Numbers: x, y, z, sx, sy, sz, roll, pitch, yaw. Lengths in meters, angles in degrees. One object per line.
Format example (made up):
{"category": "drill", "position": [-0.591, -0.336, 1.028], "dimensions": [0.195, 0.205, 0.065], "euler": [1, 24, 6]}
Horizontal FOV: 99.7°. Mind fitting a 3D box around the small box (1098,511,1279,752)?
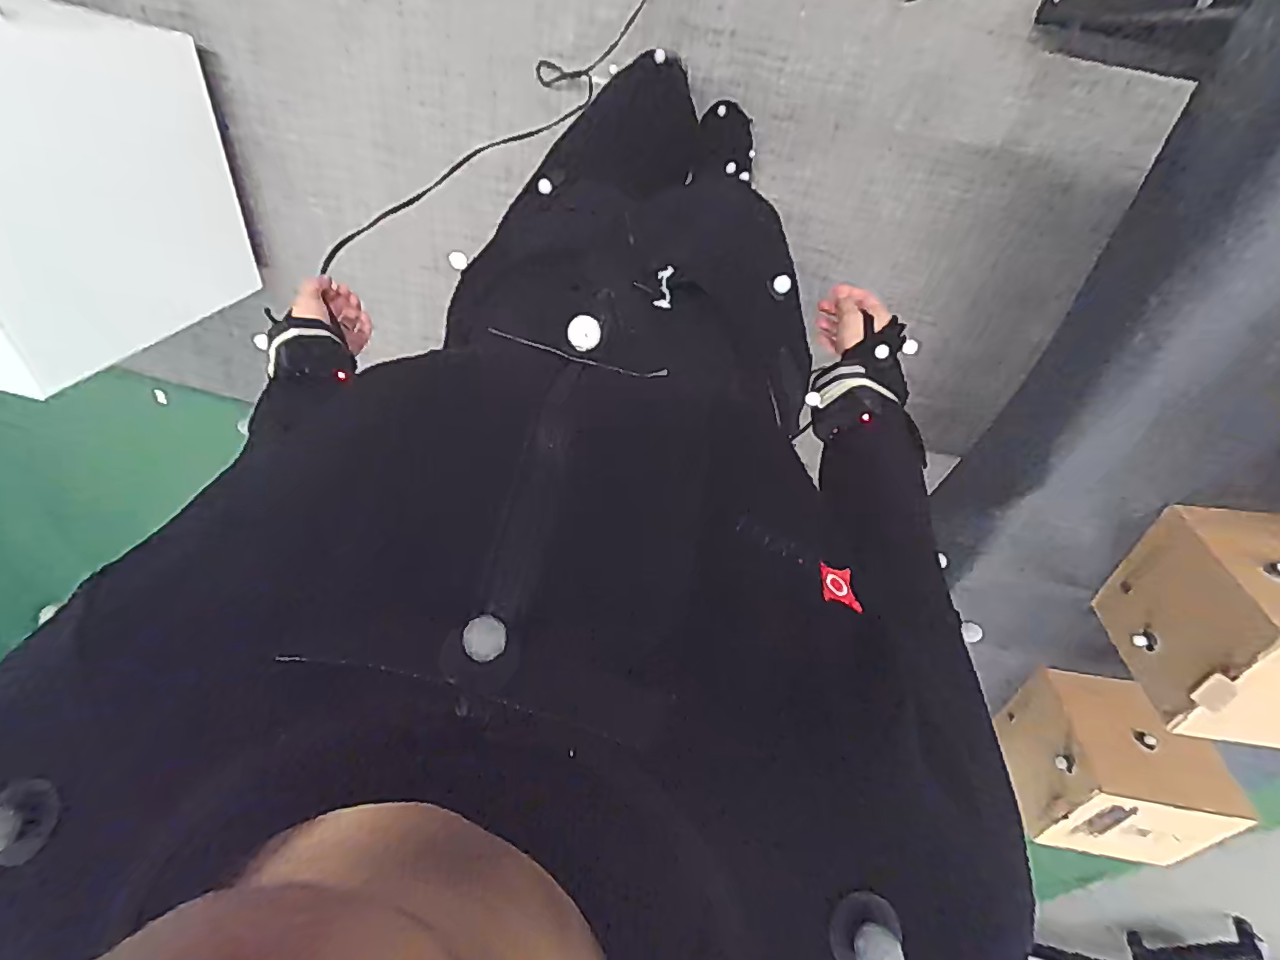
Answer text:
{"category": "small box", "position": [0.620, 0.148, 0.539], "dimensions": [0.179, 0.176, 0.168], "euler": [4, 130, 7]}
